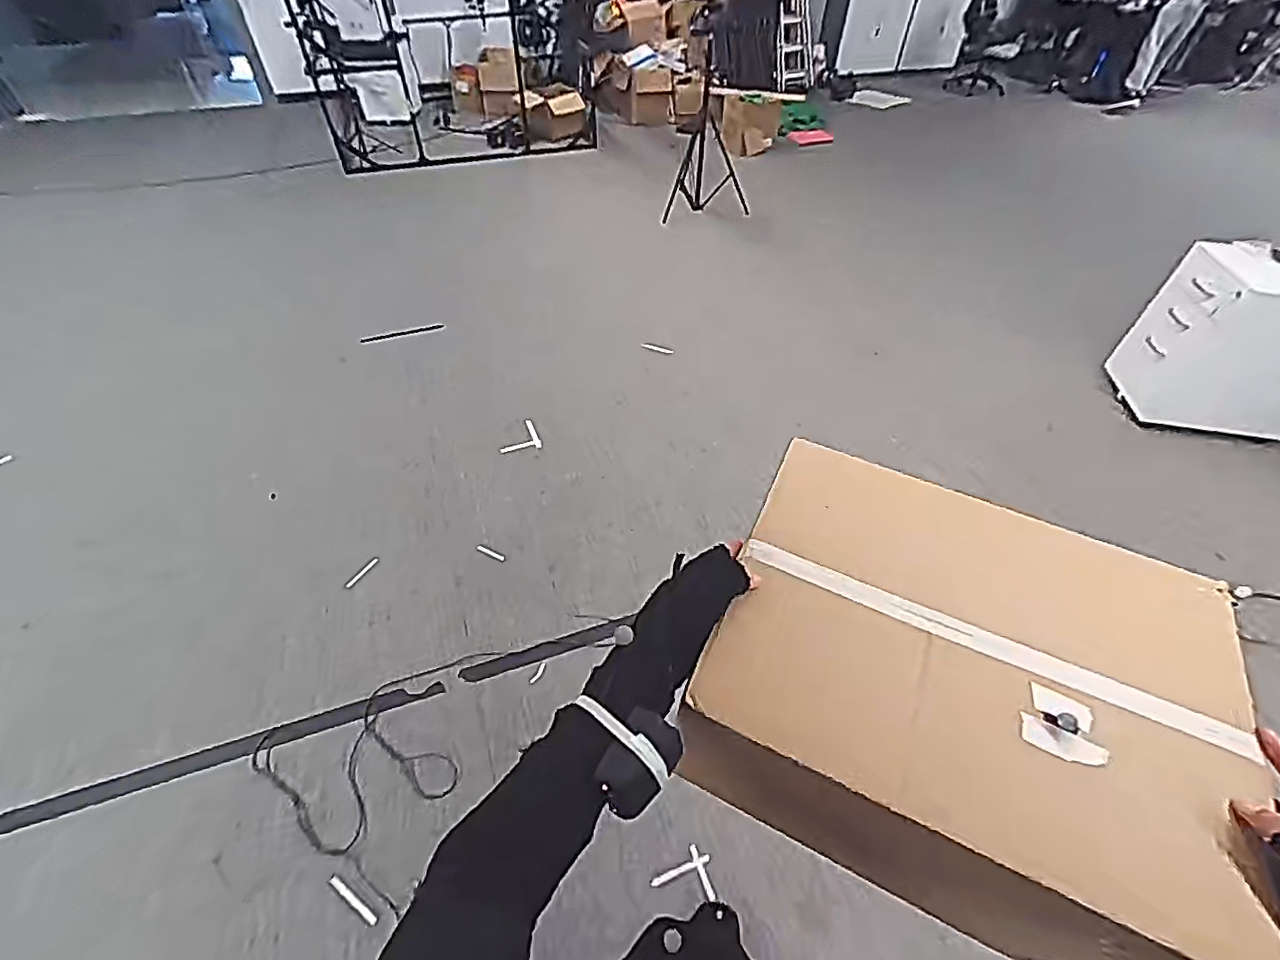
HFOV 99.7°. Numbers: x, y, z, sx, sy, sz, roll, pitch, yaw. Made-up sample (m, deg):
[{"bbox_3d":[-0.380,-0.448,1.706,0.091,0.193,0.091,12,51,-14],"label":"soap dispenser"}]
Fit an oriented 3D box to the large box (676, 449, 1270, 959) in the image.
[{"bbox_3d":[0.285,0.228,0.591,0.408,0.320,0.320,22,57,15],"label":"large box"}]
